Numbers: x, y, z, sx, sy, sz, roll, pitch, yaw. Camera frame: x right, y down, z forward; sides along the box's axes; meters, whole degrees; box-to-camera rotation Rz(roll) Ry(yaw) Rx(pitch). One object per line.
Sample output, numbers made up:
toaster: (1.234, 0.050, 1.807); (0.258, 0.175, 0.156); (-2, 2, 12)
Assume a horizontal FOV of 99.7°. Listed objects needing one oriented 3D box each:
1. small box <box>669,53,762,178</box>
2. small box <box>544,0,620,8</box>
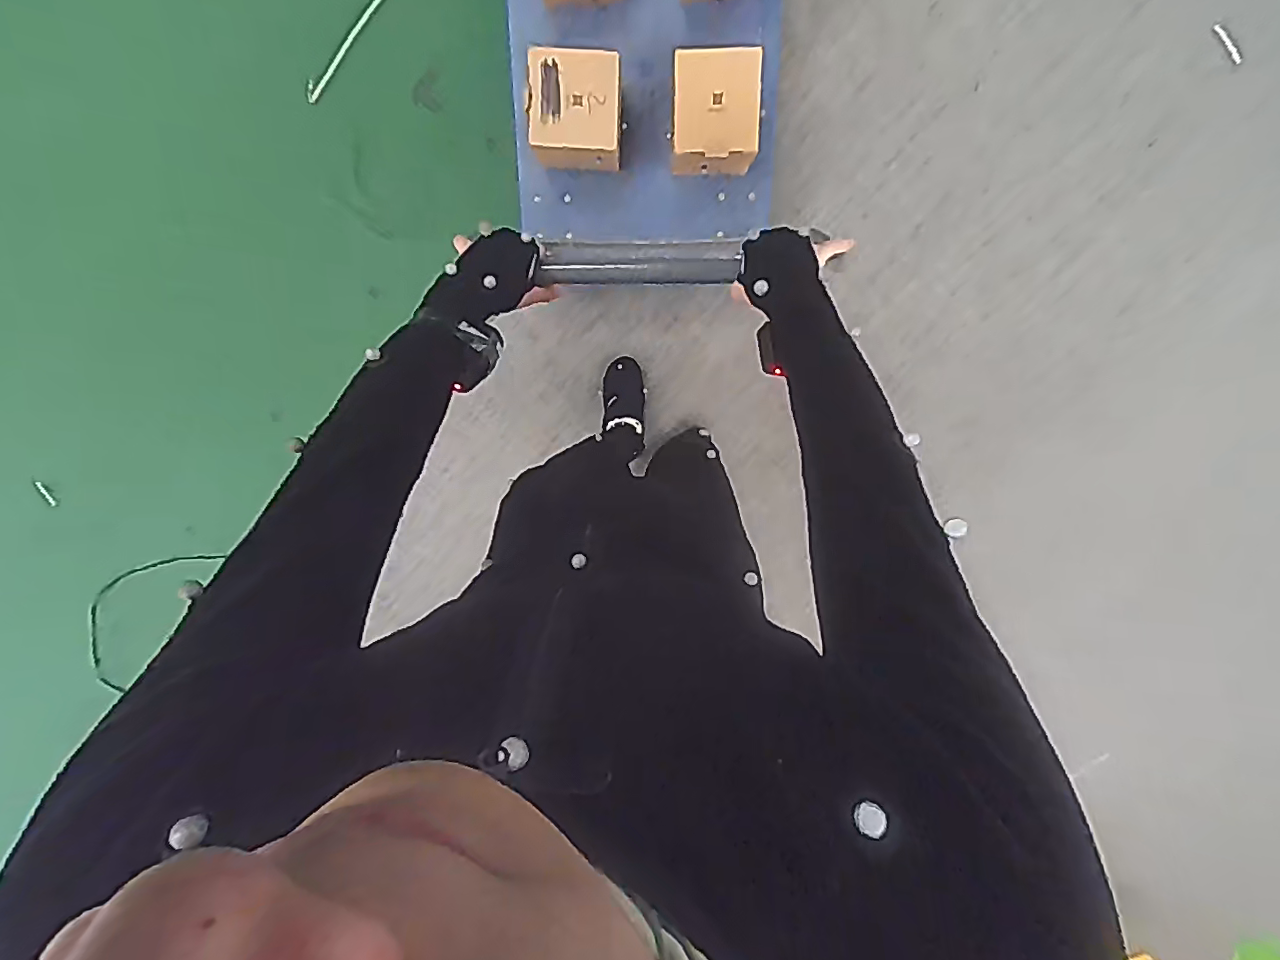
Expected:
small box: (0.147, -0.739, 1.112); (0.168, 0.176, 0.179); (-1, 108, 0)
small box: (-0.124, -1.032, 1.019); (0.168, 0.176, 0.179); (-4, 107, 1)
